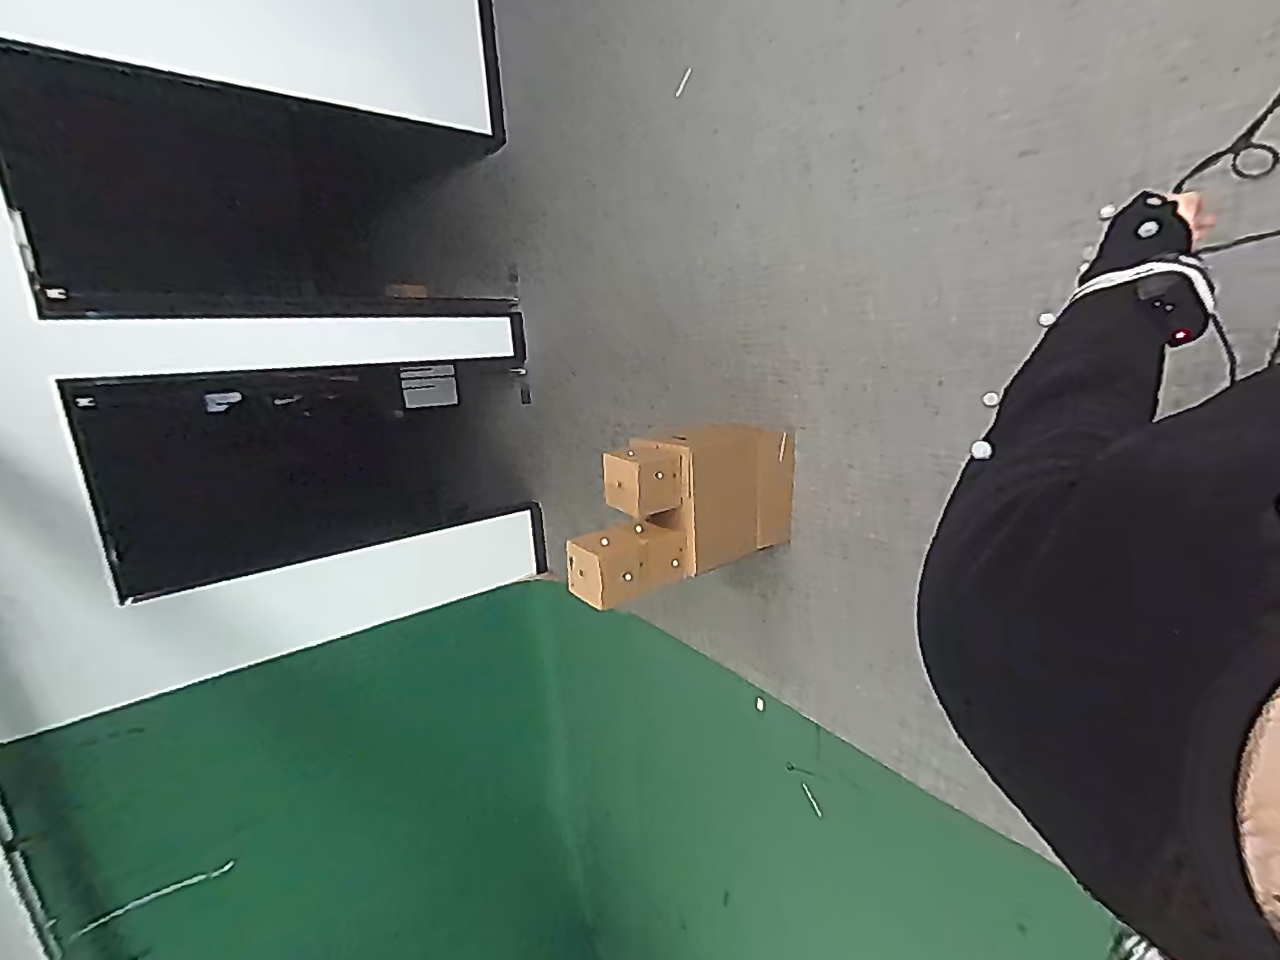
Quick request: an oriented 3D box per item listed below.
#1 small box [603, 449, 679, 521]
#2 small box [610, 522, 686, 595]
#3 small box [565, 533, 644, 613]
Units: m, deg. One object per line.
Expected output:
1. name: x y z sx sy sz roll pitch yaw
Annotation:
1. small box: 0.006 0.008 1.655 0.179 0.176 0.168 20 117 50
2. small box: 0.024 0.239 1.702 0.179 0.176 0.168 14 110 49
3. small box: -0.101 0.267 1.599 0.179 0.176 0.168 16 111 48
